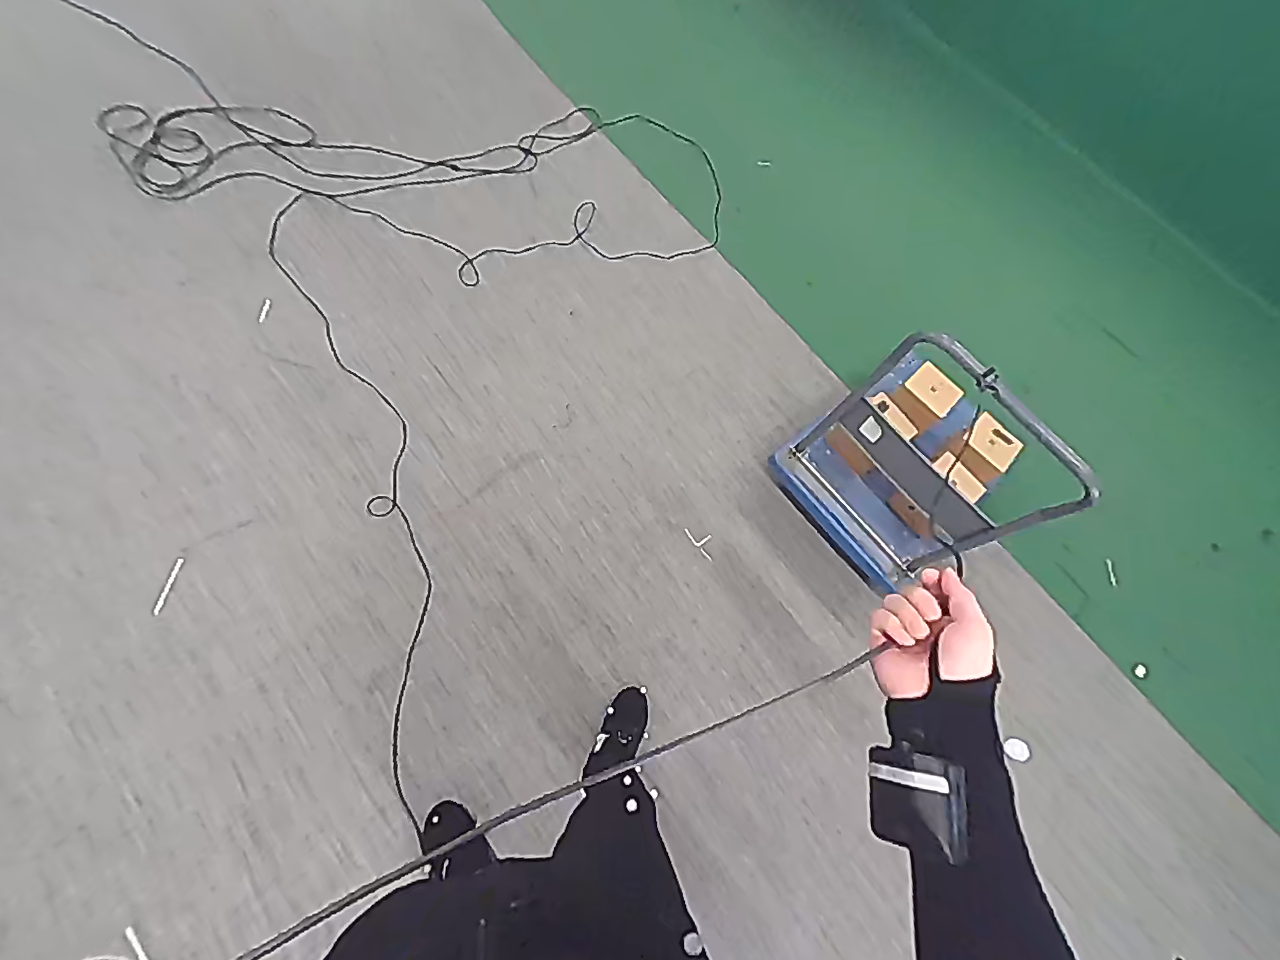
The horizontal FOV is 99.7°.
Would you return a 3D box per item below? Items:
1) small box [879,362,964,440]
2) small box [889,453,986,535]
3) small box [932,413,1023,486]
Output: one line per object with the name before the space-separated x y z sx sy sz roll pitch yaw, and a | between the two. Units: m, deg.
small box | 0.967 -0.268 1.875 0.179 0.176 0.168 -38 80 -27
small box | 0.935 0.048 1.714 0.179 0.176 0.168 -33 77 -25
small box | 1.137 -0.088 1.832 0.179 0.176 0.168 -38 78 -26
